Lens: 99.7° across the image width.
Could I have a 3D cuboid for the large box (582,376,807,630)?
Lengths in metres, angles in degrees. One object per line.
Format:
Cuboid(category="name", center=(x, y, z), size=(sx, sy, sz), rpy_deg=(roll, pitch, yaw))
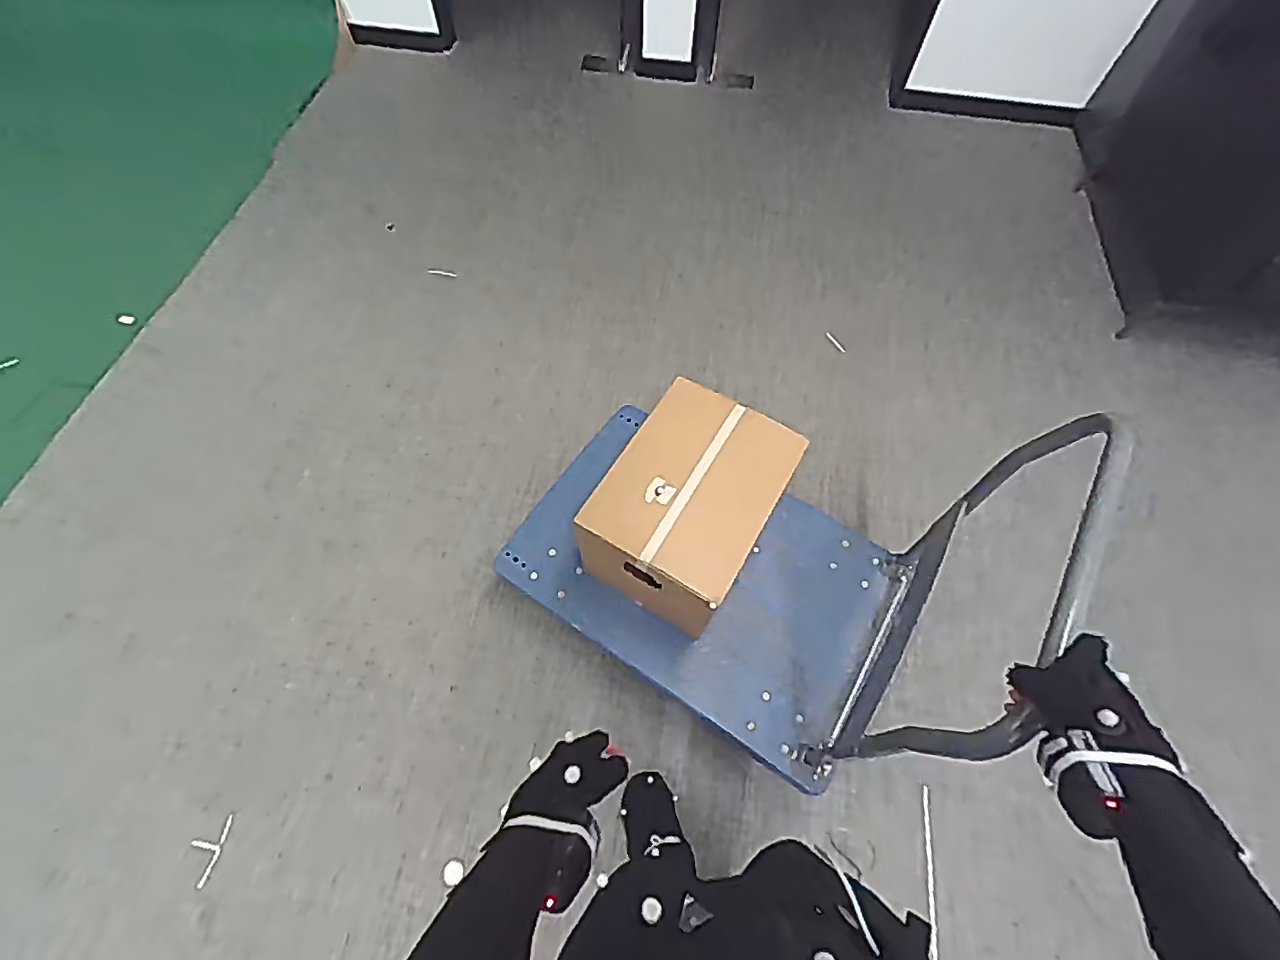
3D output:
Cuboid(category="large box", center=(0.114, 0.058, 1.201), size=(0.320, 0.320, 0.408), rpy_deg=(29, 67, 13))
